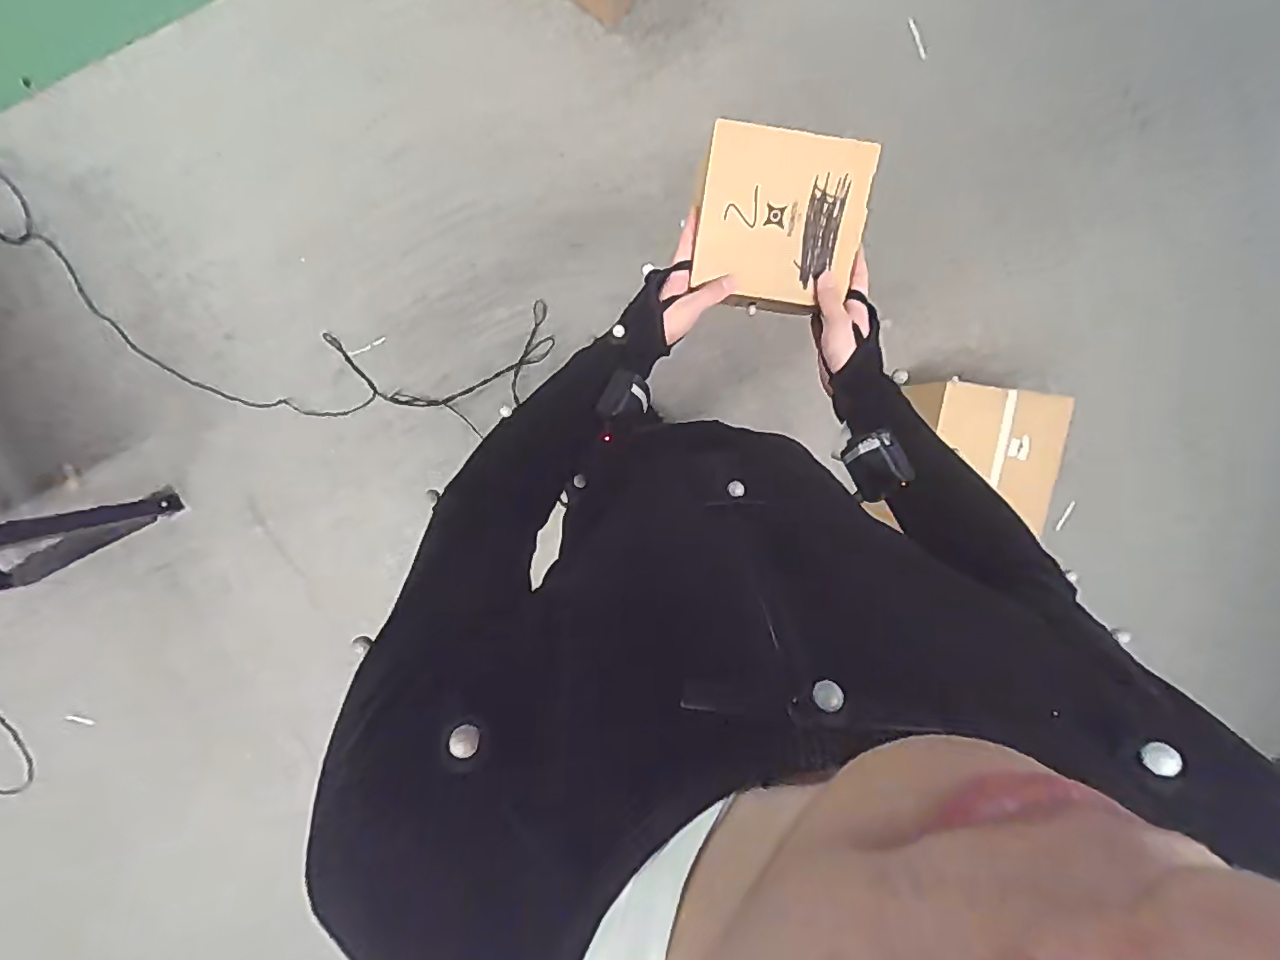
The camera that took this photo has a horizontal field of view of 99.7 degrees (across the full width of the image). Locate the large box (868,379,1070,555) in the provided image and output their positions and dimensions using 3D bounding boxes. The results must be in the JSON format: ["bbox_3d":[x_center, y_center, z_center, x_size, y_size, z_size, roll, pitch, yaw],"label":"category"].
[{"bbox_3d":[0.850,-0.042,1.452,0.320,0.320,0.408,8,97,-1],"label":"large box"}]
